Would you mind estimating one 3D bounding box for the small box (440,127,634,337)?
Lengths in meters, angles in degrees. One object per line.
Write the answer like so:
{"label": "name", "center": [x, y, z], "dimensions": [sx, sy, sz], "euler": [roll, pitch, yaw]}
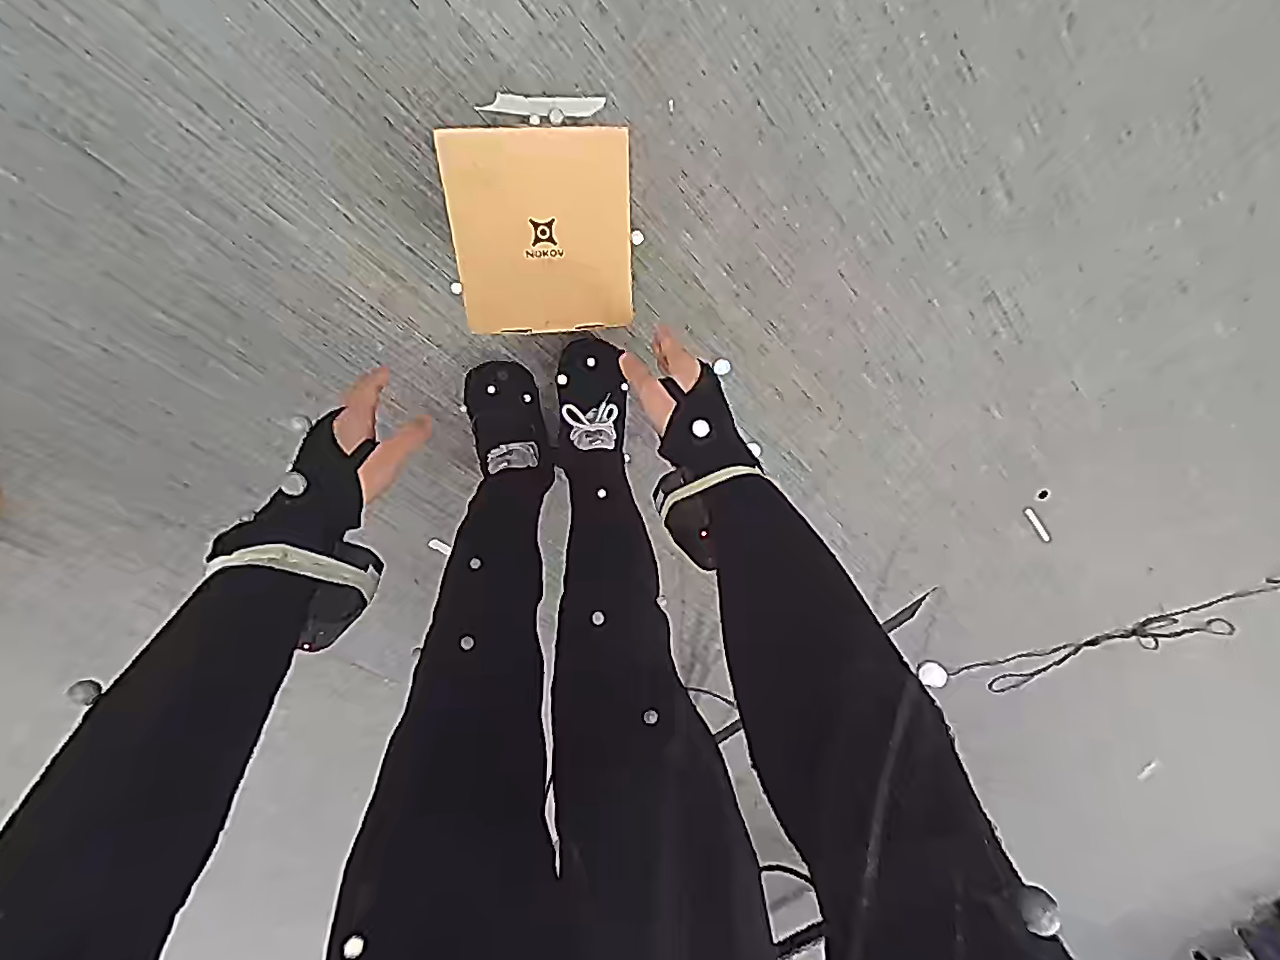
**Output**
{"label": "small box", "center": [-0.100, -0.265, 0.569], "dimensions": [0.168, 0.176, 0.179], "euler": [-6, 124, -7]}
